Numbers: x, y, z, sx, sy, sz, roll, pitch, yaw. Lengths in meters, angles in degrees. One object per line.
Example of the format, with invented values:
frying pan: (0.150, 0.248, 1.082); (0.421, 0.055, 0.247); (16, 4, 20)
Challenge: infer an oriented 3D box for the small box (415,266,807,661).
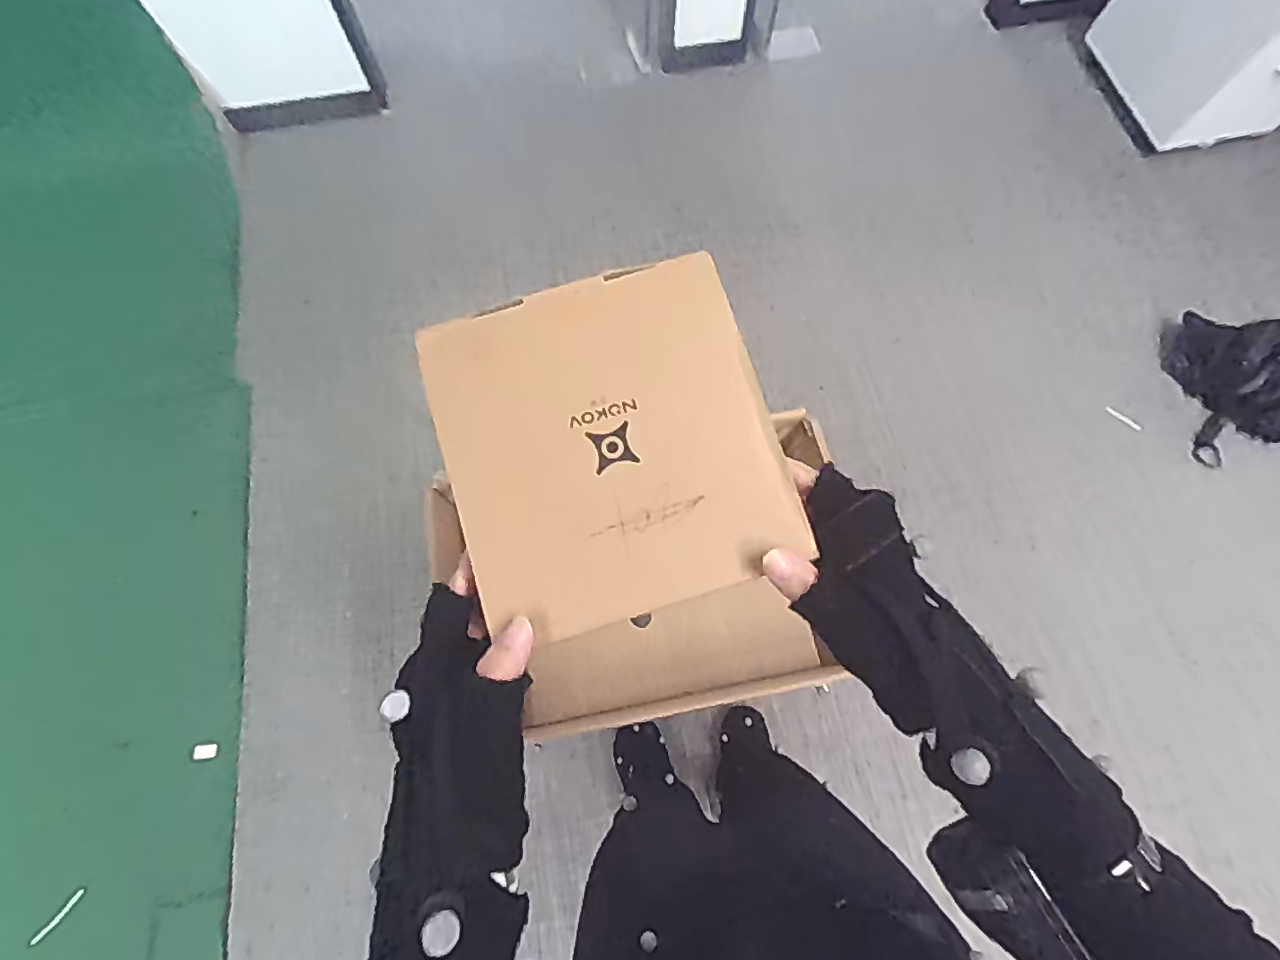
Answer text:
small box: (-0.020, -0.001, 0.354); (0.168, 0.176, 0.179); (-17, 81, -4)
